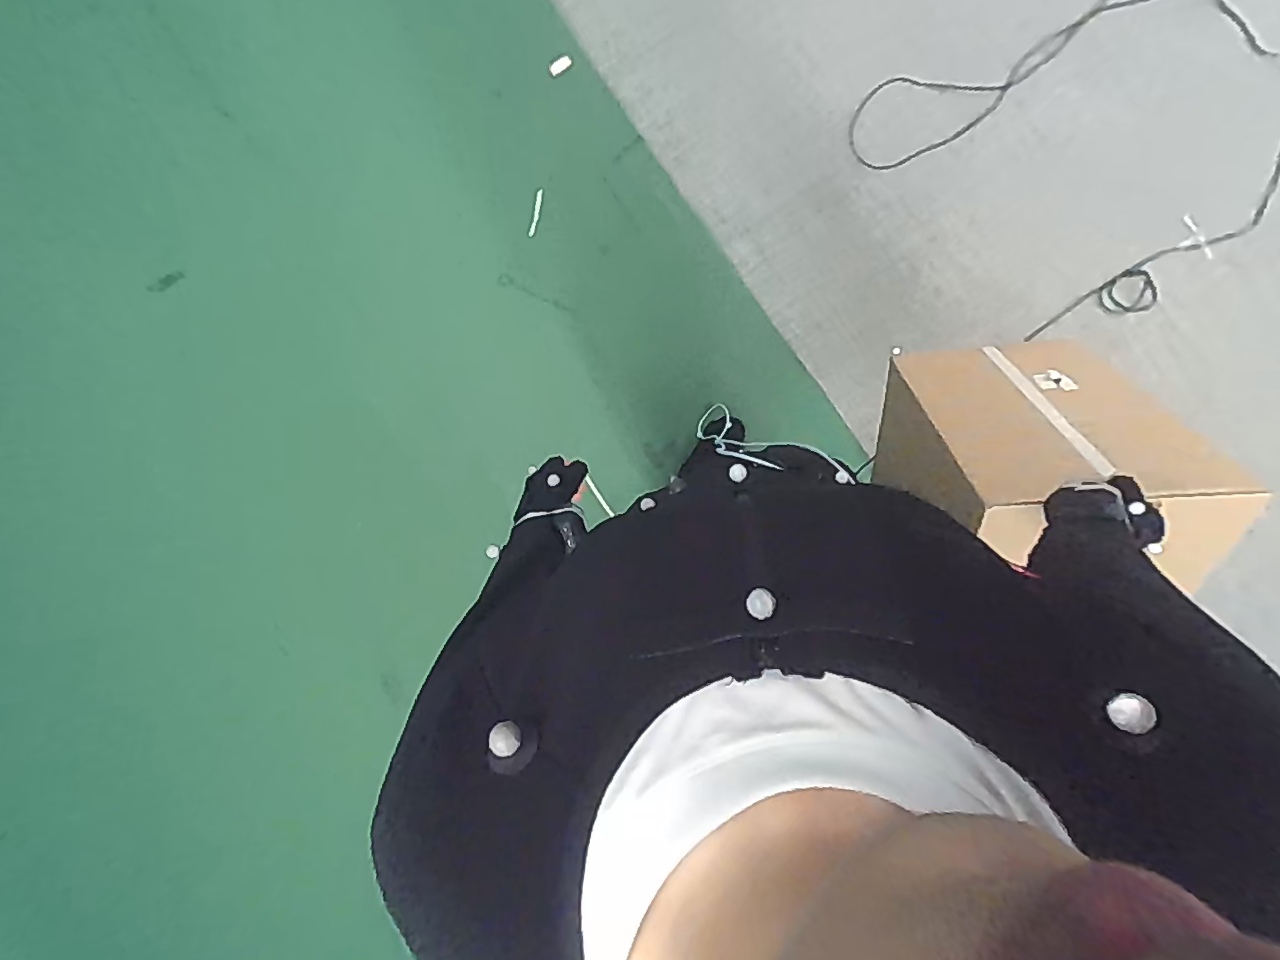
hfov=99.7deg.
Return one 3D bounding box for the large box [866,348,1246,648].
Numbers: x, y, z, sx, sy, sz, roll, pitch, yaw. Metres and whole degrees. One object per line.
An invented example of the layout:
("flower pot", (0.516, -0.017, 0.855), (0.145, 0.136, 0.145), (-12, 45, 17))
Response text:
("large box", (0.603, 0.020, 0.902), (0.320, 0.408, 0.320), (-2, 129, 7))
